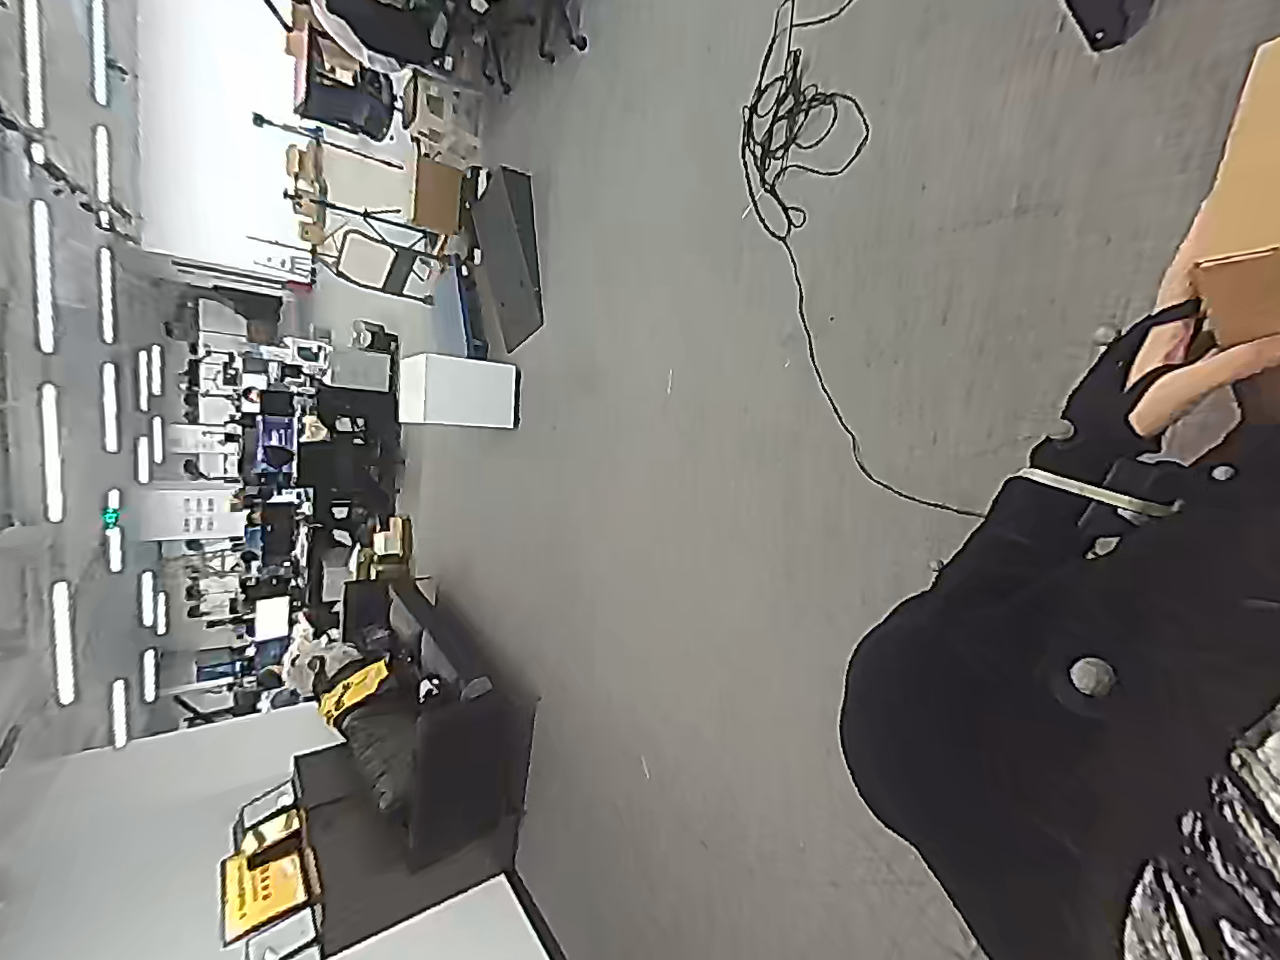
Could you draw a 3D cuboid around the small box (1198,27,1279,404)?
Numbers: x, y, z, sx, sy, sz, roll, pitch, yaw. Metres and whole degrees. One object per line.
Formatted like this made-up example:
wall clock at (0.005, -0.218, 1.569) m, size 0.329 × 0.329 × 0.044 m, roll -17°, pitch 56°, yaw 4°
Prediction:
small box at (0.455, -0.159, 0.293) m, size 0.168 × 0.176 × 0.179 m, roll 9°, pitch 70°, yaw 59°
